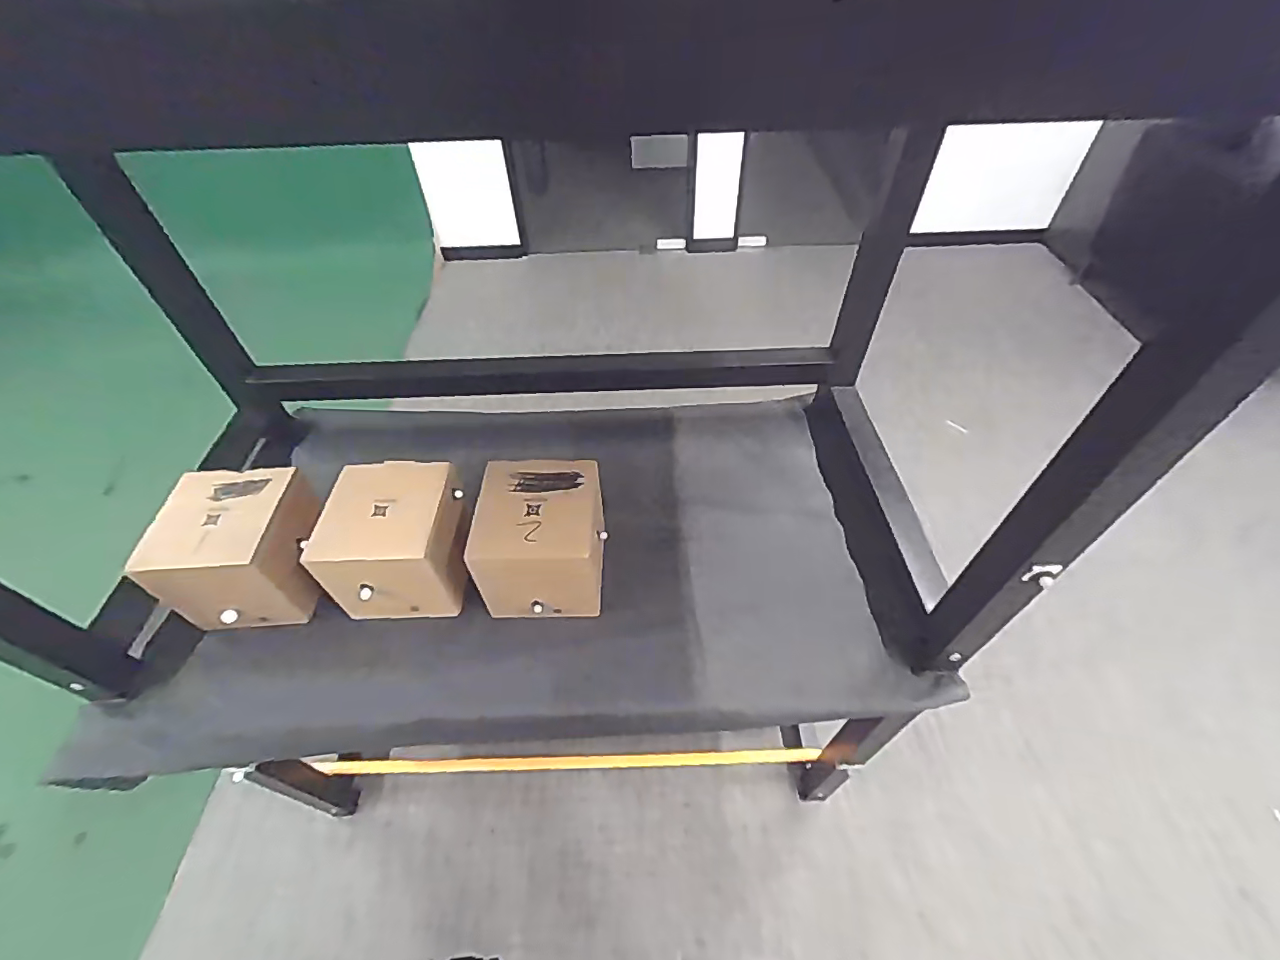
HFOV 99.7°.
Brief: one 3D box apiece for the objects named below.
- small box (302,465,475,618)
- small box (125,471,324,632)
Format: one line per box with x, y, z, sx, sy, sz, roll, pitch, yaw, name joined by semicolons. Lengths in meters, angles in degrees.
-0.361;0.097;0.819;0.168;0.176;0.179;-1;47;0;small box
-0.588;0.107;0.813;0.168;0.176;0.179;-4;48;-1;small box
